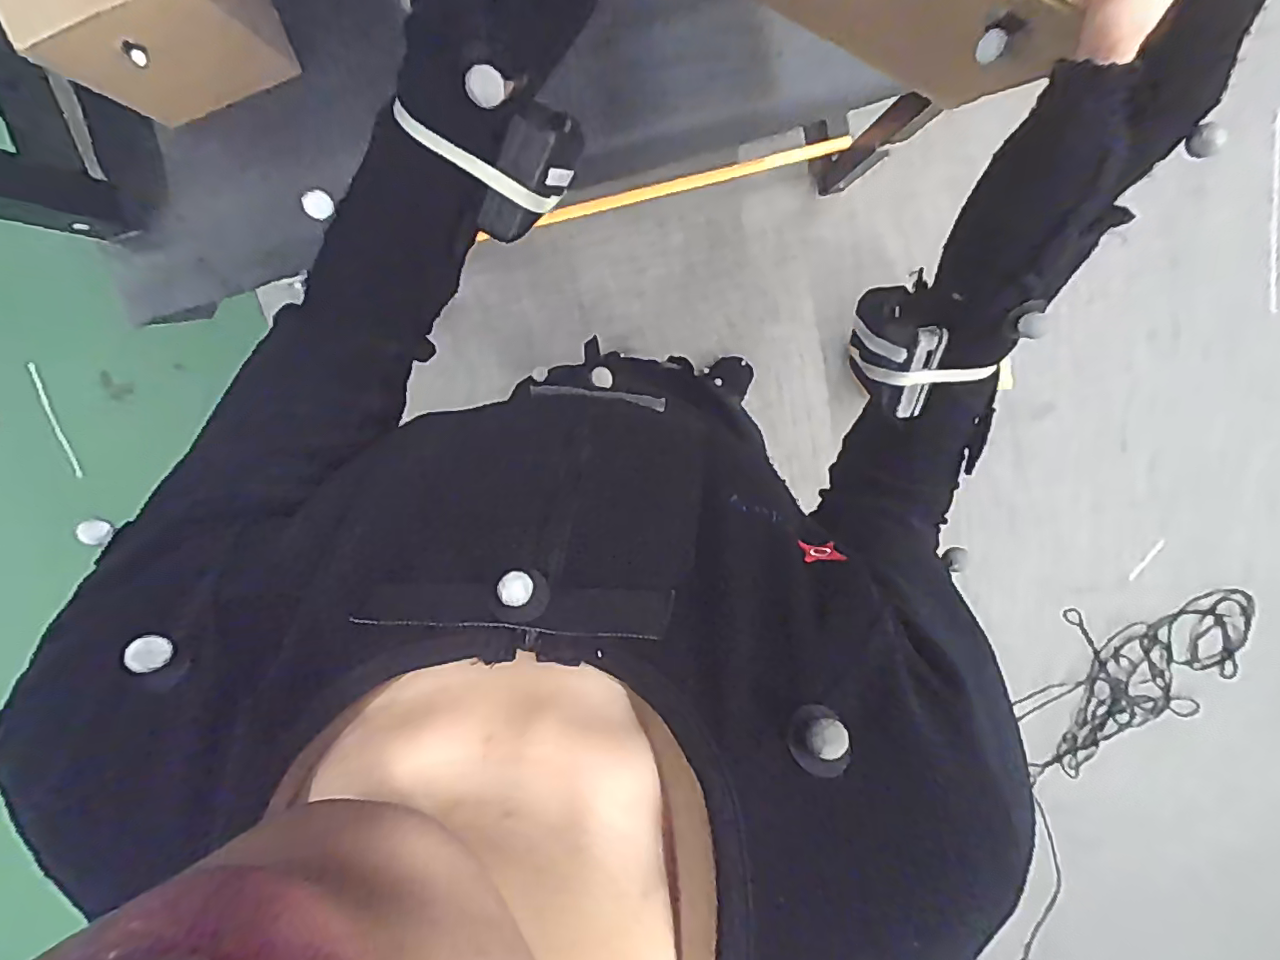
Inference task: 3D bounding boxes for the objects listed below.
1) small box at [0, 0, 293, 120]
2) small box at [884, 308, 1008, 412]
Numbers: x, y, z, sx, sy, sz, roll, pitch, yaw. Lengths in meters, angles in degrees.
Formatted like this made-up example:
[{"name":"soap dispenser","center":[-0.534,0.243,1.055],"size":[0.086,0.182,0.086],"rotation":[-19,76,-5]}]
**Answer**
[{"name":"small box","center":[-0.499,-0.497,0.534],"size":[0.179,0.176,0.168],"rotation":[-19,103,4]},{"name":"small box","center":[0.653,-0.259,1.169],"size":[0.168,0.176,0.179],"rotation":[-15,102,4]}]
